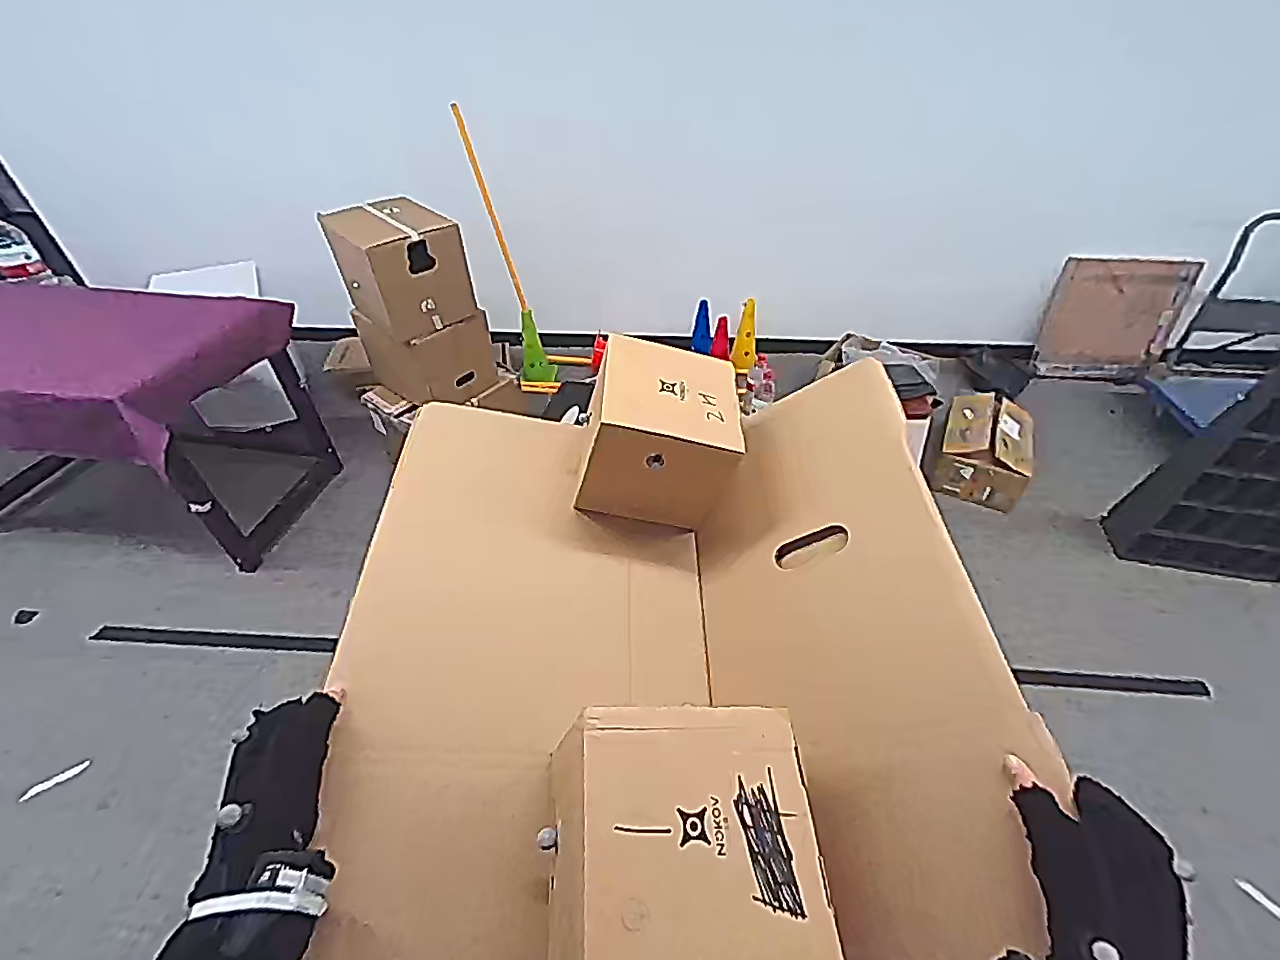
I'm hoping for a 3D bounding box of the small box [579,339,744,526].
[{"bbox_3d":[0.022,-0.056,0.726,0.179,0.176,0.168,12,50,-11],"label":"small box"}]
